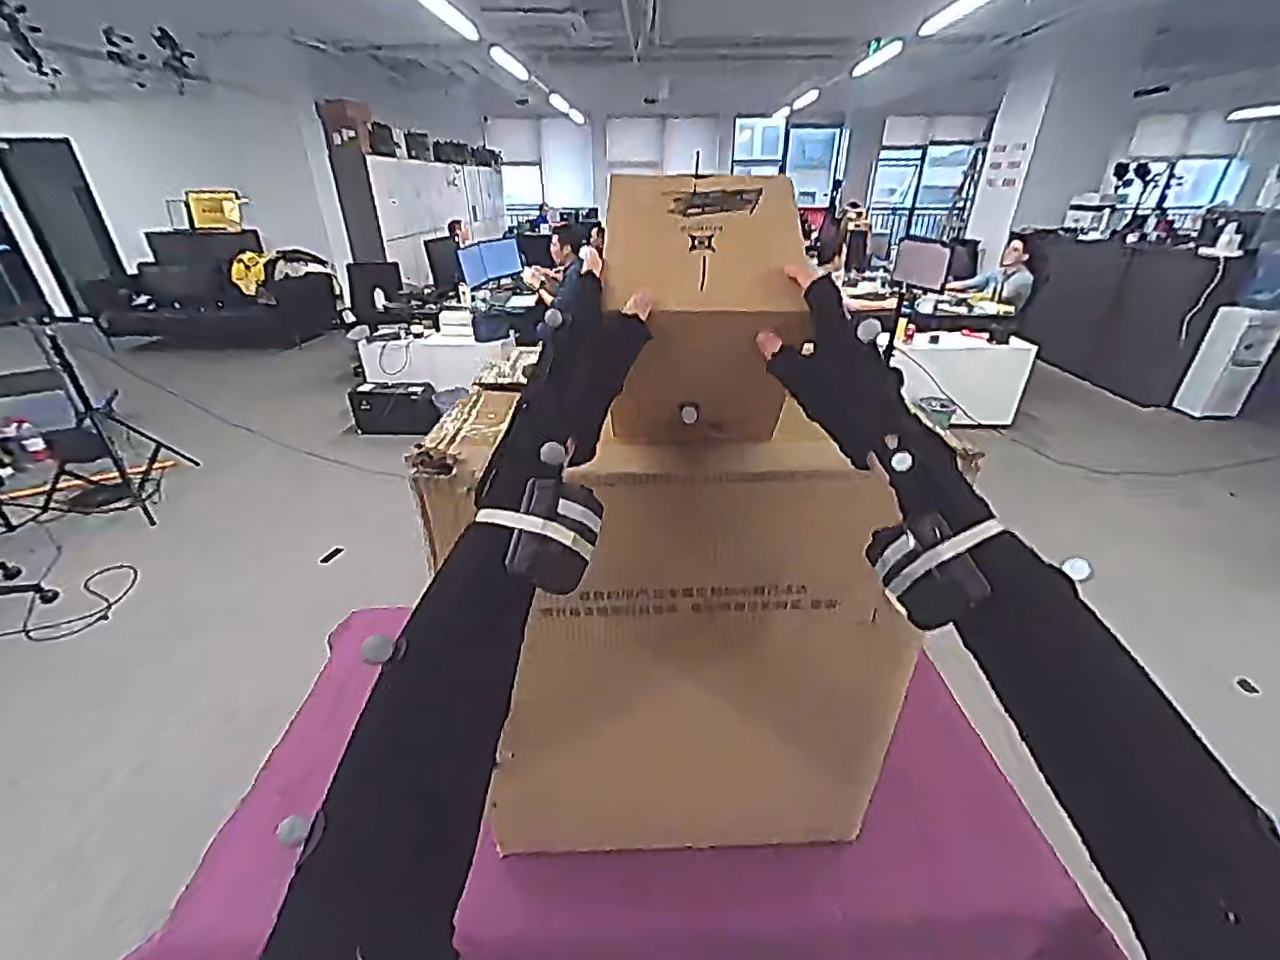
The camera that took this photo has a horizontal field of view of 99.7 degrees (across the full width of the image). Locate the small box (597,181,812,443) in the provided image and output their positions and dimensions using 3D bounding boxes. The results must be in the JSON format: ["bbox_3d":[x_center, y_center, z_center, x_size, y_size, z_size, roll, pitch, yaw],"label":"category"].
[{"bbox_3d":[0.053,-0.156,0.518,0.168,0.176,0.179,1,59,3],"label":"small box"}]
